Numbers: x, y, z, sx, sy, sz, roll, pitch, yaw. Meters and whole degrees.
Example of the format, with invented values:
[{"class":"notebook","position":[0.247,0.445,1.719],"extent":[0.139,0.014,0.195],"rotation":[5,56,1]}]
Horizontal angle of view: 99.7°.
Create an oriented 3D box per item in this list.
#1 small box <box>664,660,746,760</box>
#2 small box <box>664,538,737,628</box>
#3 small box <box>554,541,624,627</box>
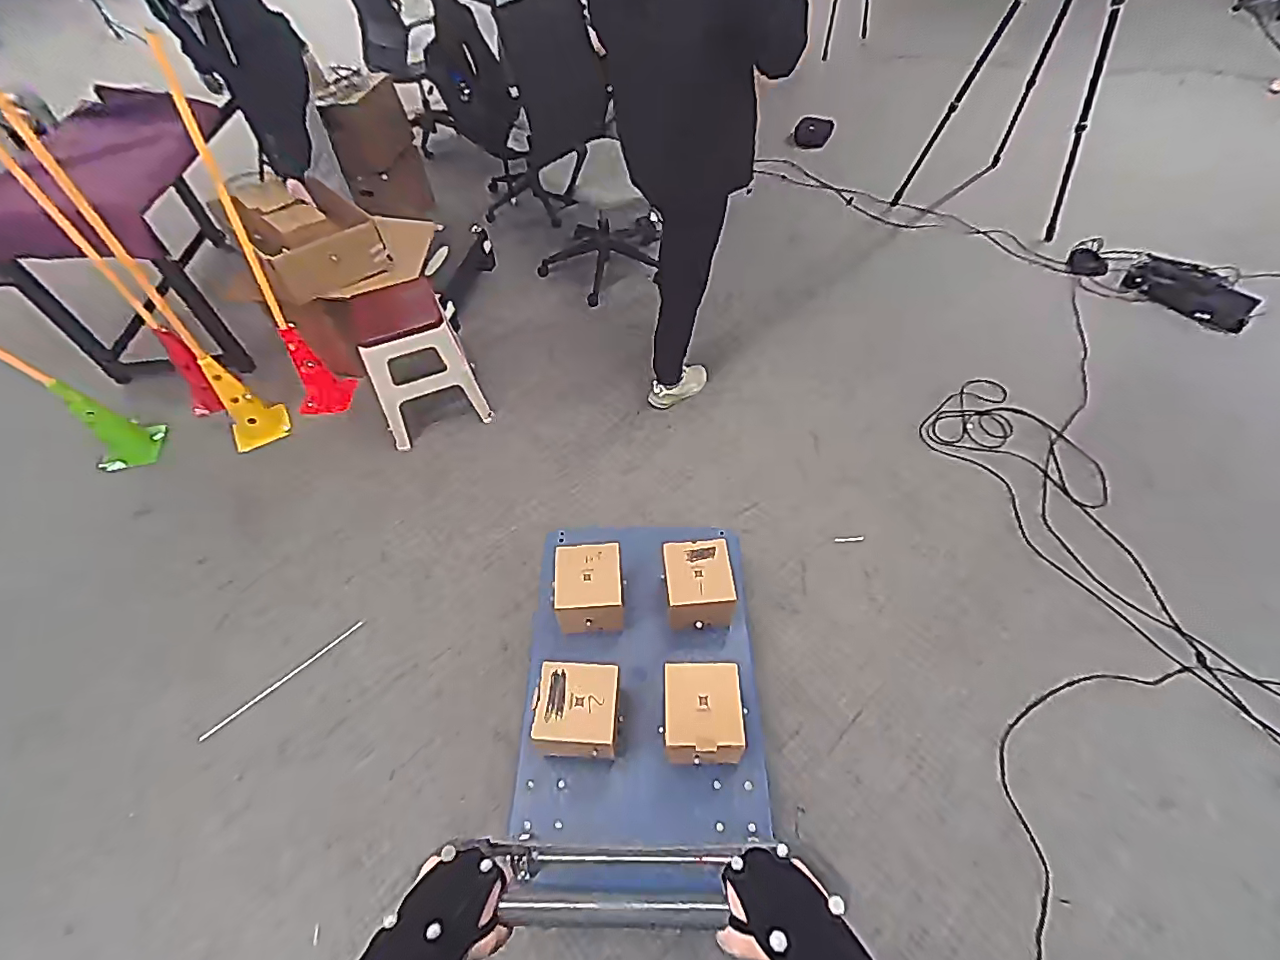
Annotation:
[{"class":"small box","position":[0.139,0.525,1.230],"extent":[0.168,0.176,0.179],"rotation":[0,54,1]},{"class":"small box","position":[0.151,0.270,1.417],"extent":[0.168,0.176,0.179],"rotation":[-4,54,-1]},{"class":"small box","position":[-0.128,0.278,1.418],"extent":[0.168,0.176,0.179],"rotation":[-3,54,-2]}]
